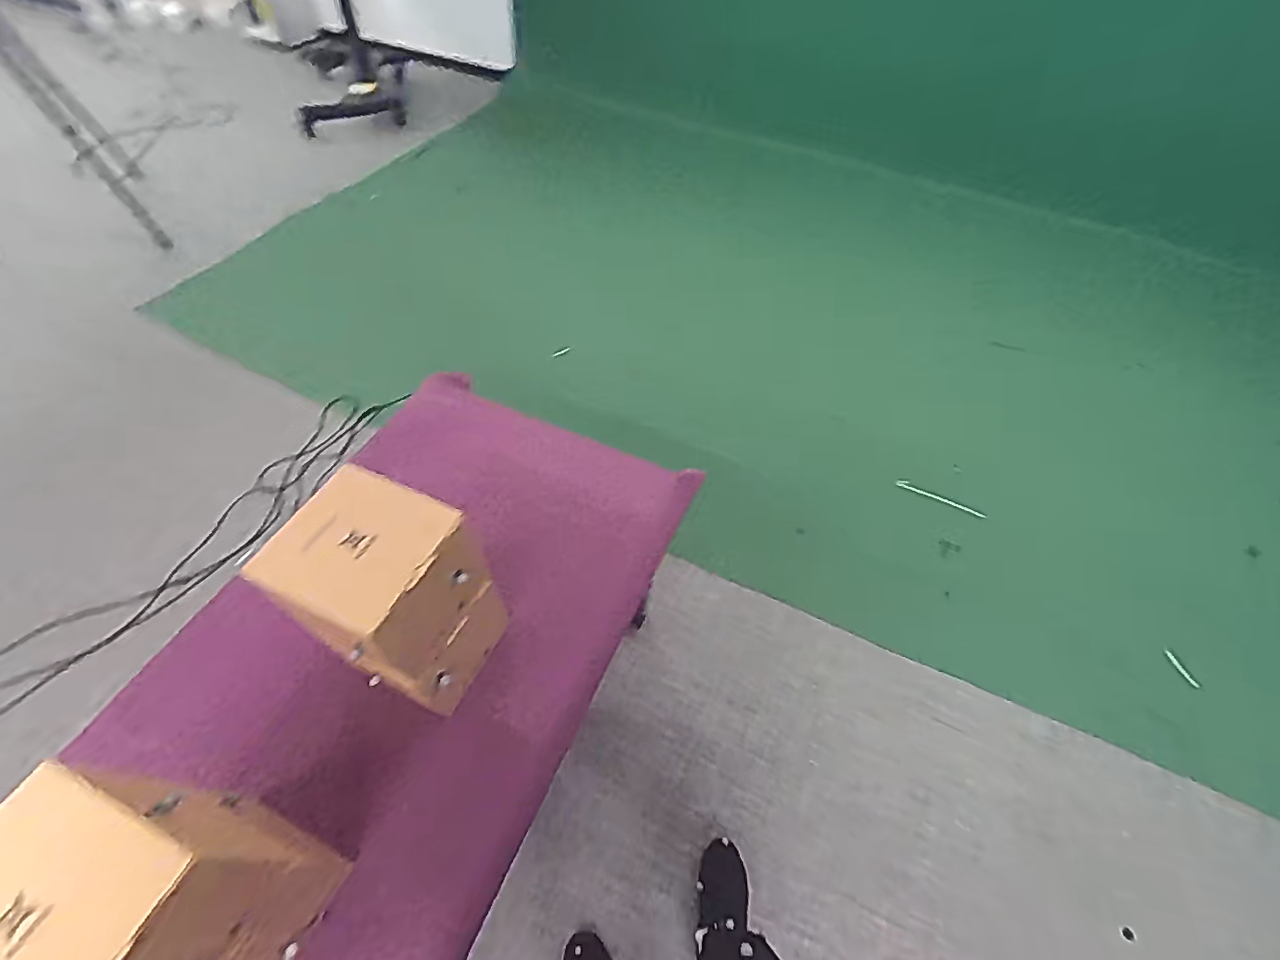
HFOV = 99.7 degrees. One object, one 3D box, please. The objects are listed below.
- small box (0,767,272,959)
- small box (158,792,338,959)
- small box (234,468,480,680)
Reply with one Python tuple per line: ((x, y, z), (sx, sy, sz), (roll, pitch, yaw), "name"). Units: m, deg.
((-0.472, 0.378, 0.458), (0.179, 0.176, 0.168), (21, 55, 11), "small box")
((-0.479, 0.476, 0.588), (0.179, 0.176, 0.168), (22, 56, 12), "small box")
((-0.320, 0.120, 0.657), (0.179, 0.176, 0.168), (21, 55, 13), "small box")
